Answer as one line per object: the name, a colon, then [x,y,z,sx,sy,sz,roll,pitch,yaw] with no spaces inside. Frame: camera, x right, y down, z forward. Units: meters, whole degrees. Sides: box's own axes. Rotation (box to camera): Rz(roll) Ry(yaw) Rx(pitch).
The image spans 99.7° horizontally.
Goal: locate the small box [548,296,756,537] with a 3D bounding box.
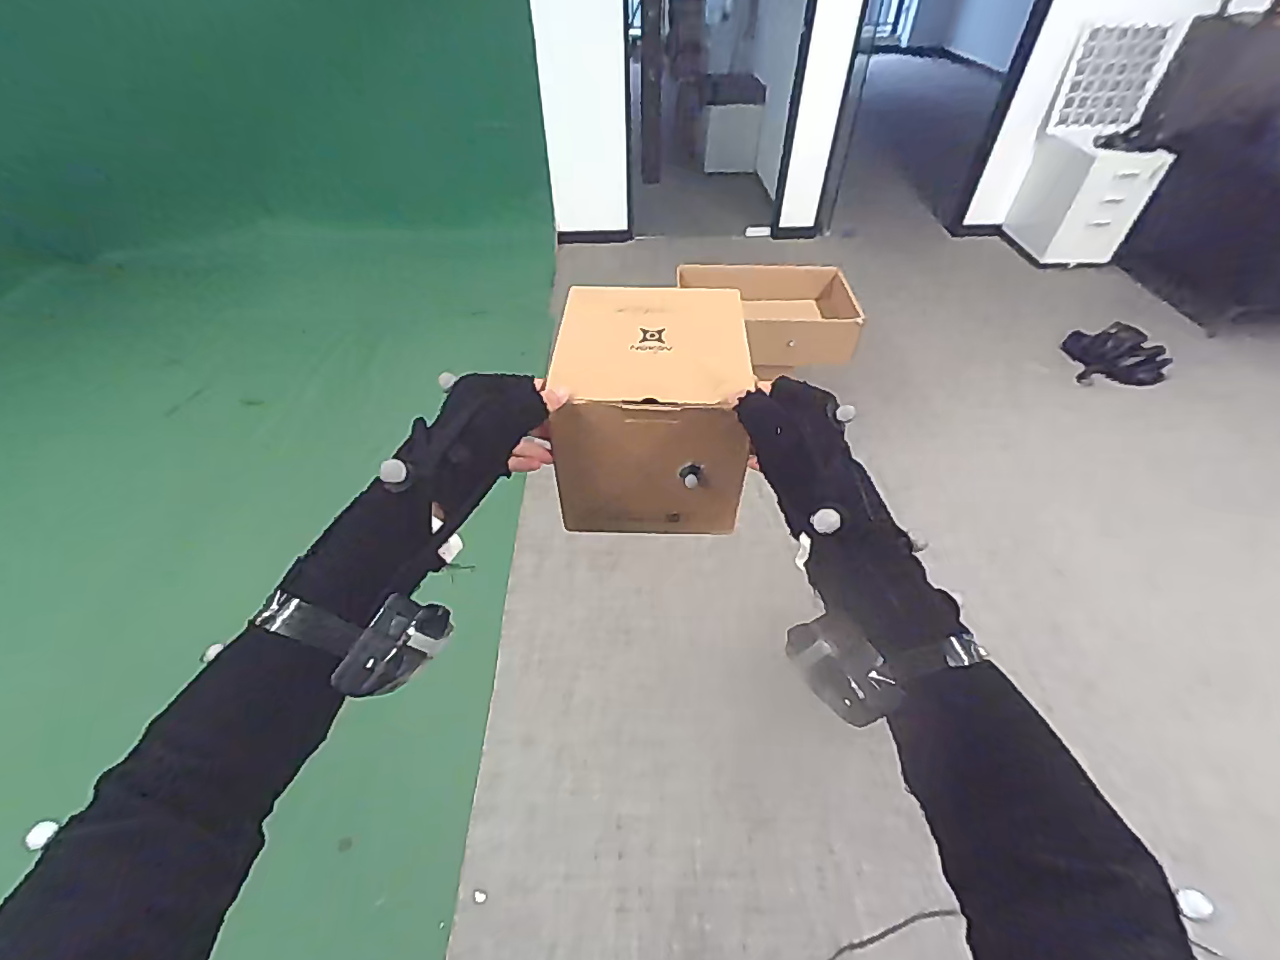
small box: [0.014,-0.060,0.530,0.168,0.176,0.179,2,46,1]
